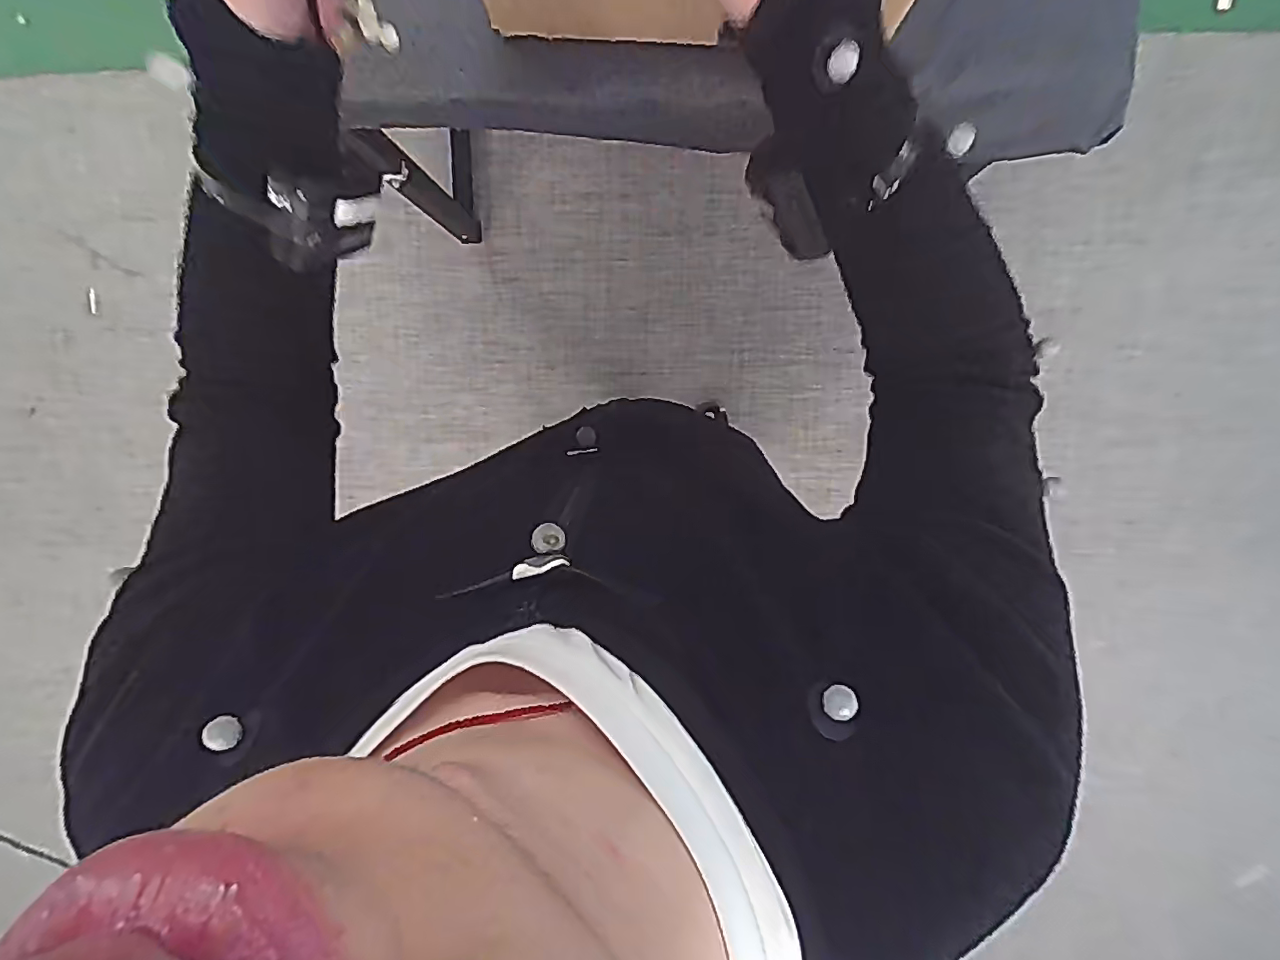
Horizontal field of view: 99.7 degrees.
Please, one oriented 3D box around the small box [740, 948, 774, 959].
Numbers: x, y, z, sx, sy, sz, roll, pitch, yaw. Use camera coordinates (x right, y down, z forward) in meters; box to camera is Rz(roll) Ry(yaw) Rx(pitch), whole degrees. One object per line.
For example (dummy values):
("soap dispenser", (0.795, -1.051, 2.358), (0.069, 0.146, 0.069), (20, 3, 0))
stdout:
("small box", (0.377, 1.624, 1.682), (0.179, 0.176, 0.168), (-33, 97, 5))
